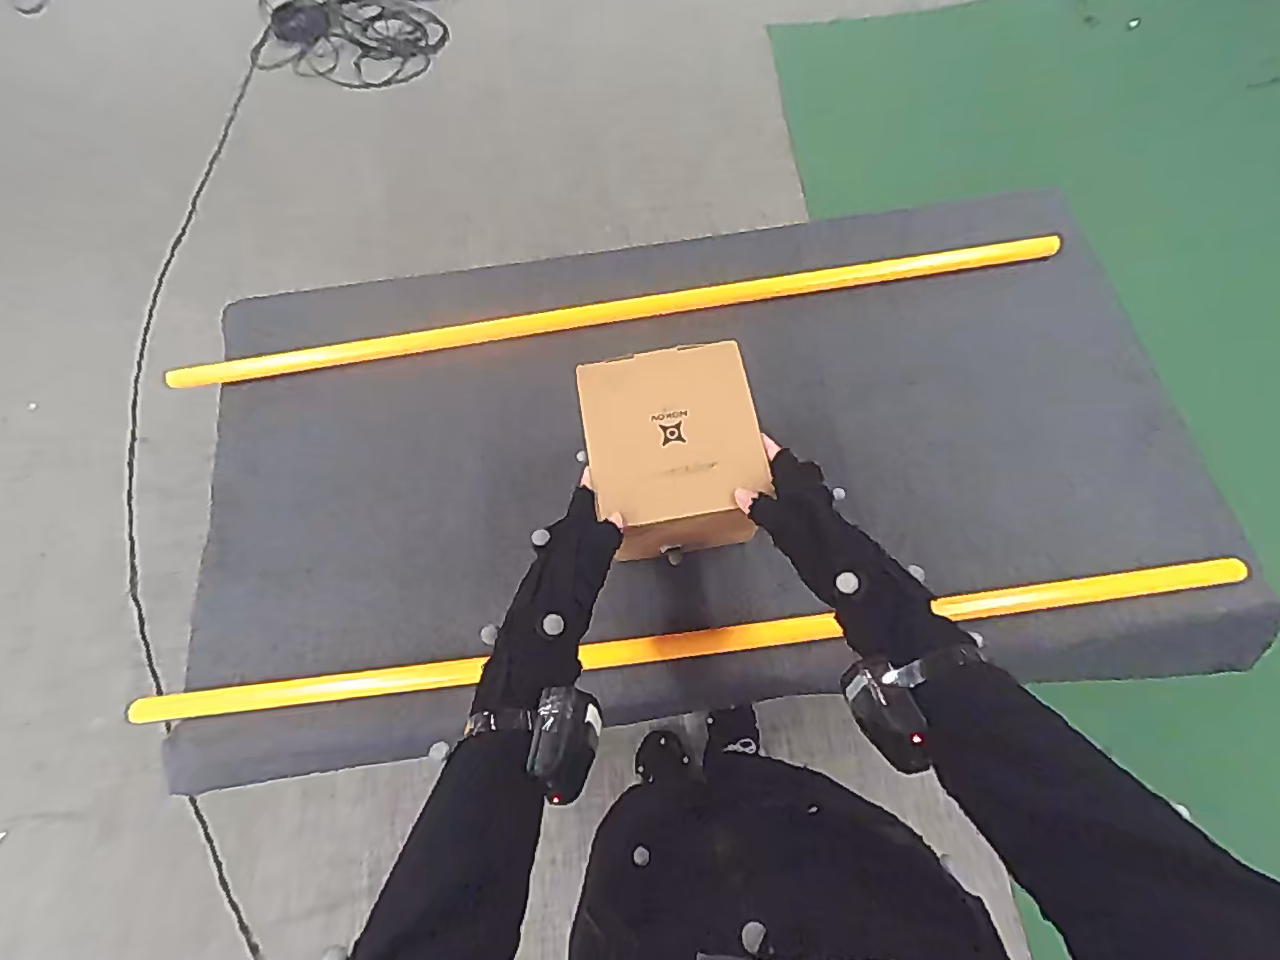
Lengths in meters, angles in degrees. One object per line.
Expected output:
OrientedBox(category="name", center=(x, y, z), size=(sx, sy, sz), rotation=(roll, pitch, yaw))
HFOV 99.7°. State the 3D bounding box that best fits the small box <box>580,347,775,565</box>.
OrientedBox(category="small box", center=(0.034, -0.016, 0.599), size=(0.168, 0.176, 0.179), rotation=(-11, 71, 0))
